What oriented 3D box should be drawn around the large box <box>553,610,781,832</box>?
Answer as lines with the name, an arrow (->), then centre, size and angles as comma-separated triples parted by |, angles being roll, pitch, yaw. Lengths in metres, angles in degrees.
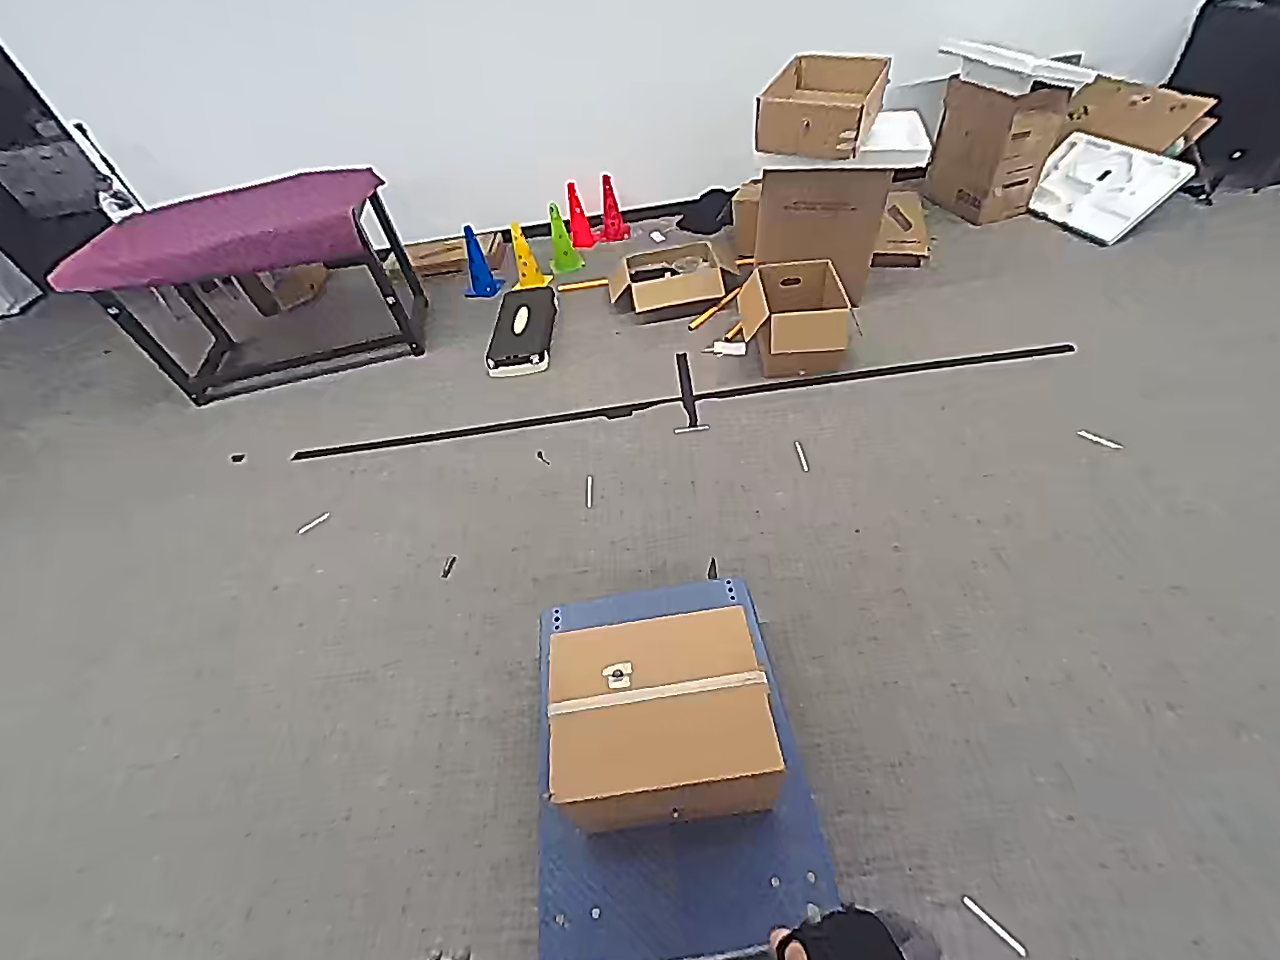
large box -> 0.052, 0.513, 1.140 | 0.408, 0.320, 0.320 | -10, 47, 2
